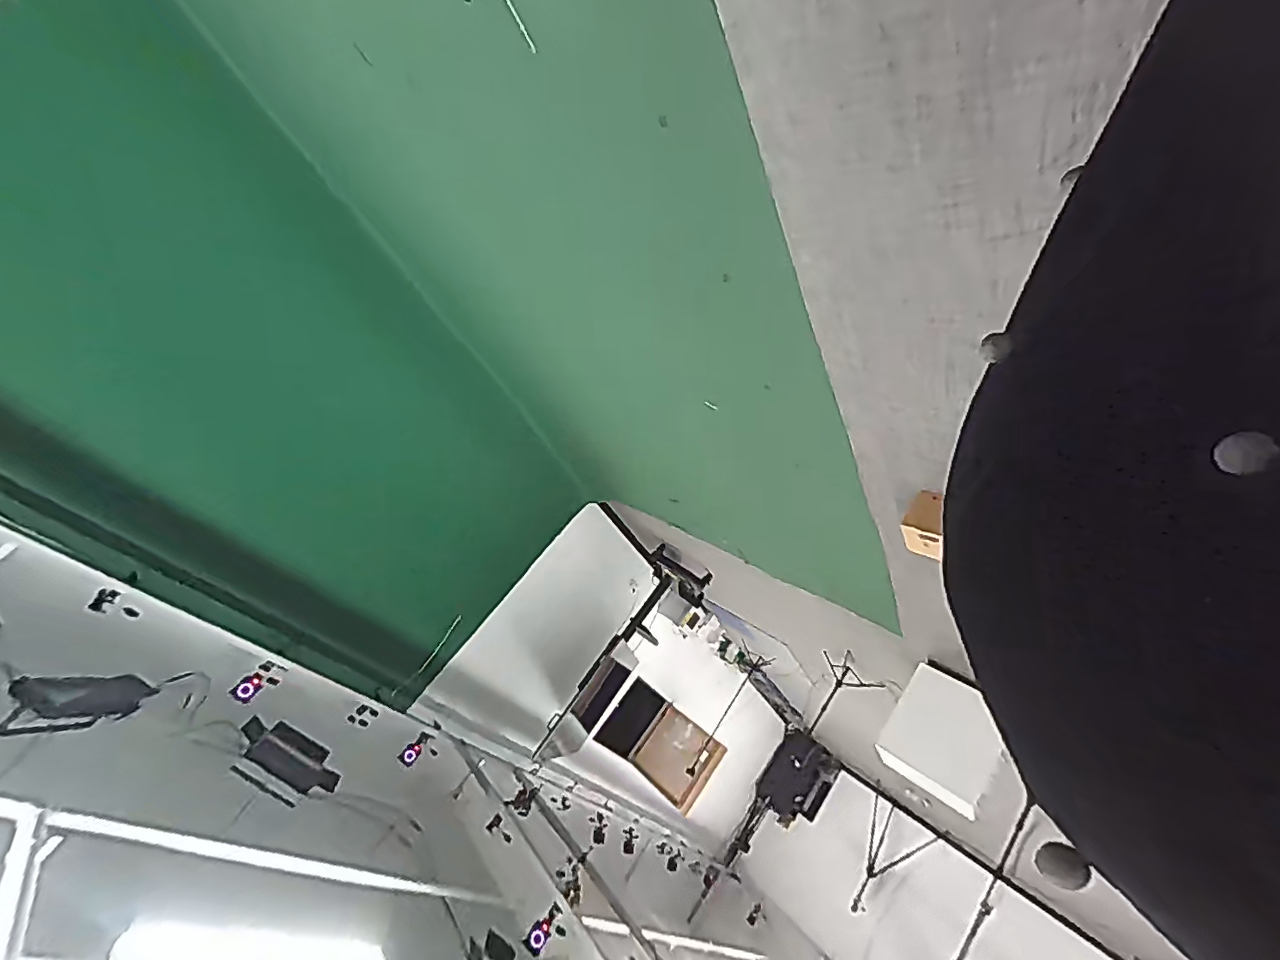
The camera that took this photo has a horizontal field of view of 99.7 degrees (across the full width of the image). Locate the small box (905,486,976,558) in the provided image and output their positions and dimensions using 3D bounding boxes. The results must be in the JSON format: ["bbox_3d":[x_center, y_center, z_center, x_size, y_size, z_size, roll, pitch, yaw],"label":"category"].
[{"bbox_3d":[1.097,0.149,1.967,0.168,0.176,0.179,22,157,48],"label":"small box"}]
